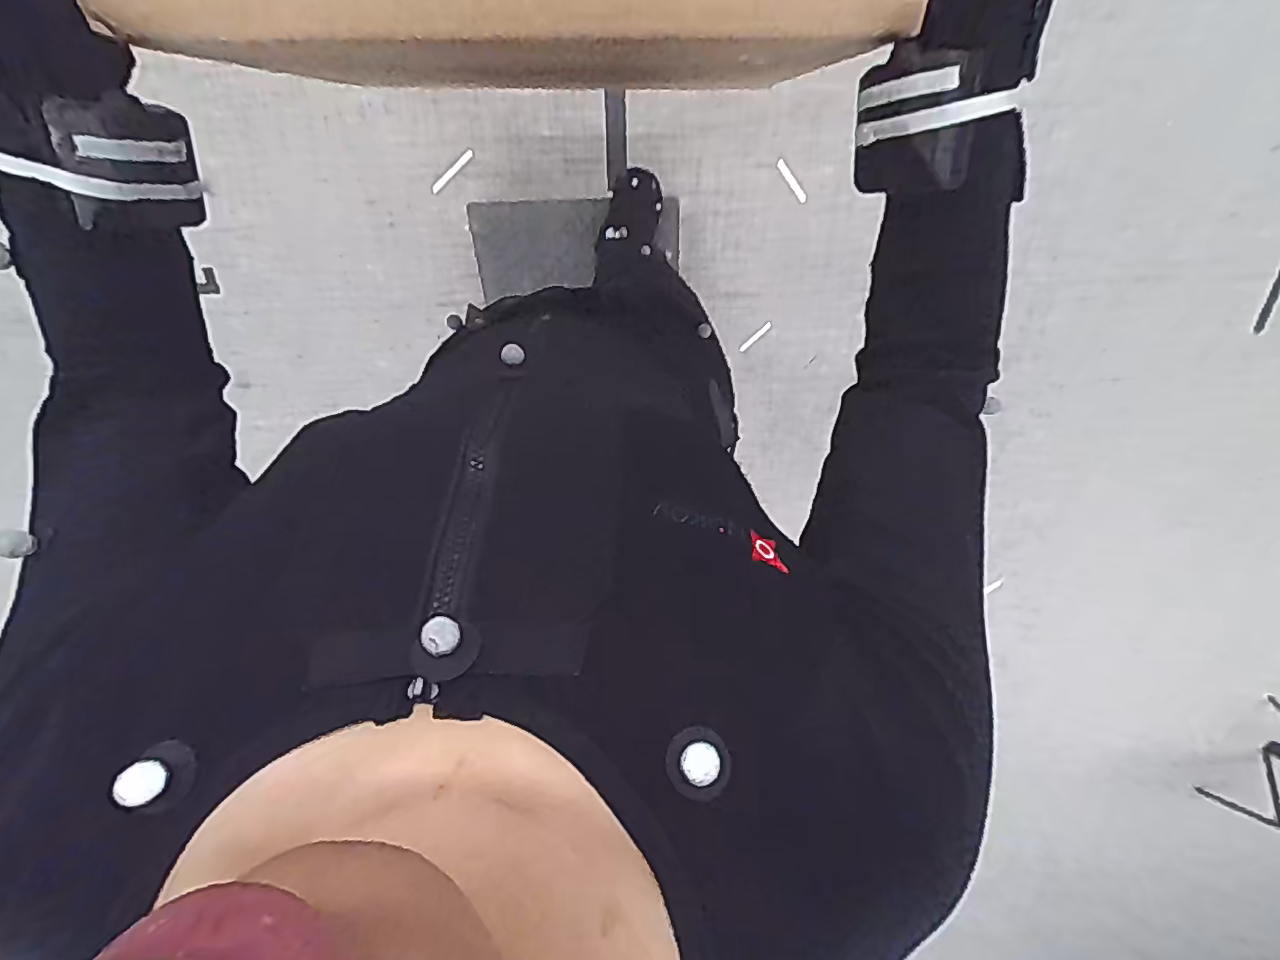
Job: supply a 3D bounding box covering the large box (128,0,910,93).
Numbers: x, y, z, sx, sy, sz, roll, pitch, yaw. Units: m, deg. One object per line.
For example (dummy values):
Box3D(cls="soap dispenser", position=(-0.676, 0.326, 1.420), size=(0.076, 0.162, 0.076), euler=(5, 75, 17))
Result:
Box3D(cls="large box", position=(-0.066, -0.440, 0.325), size=(0.408, 0.320, 0.320), euler=(-2, 123, -2))
